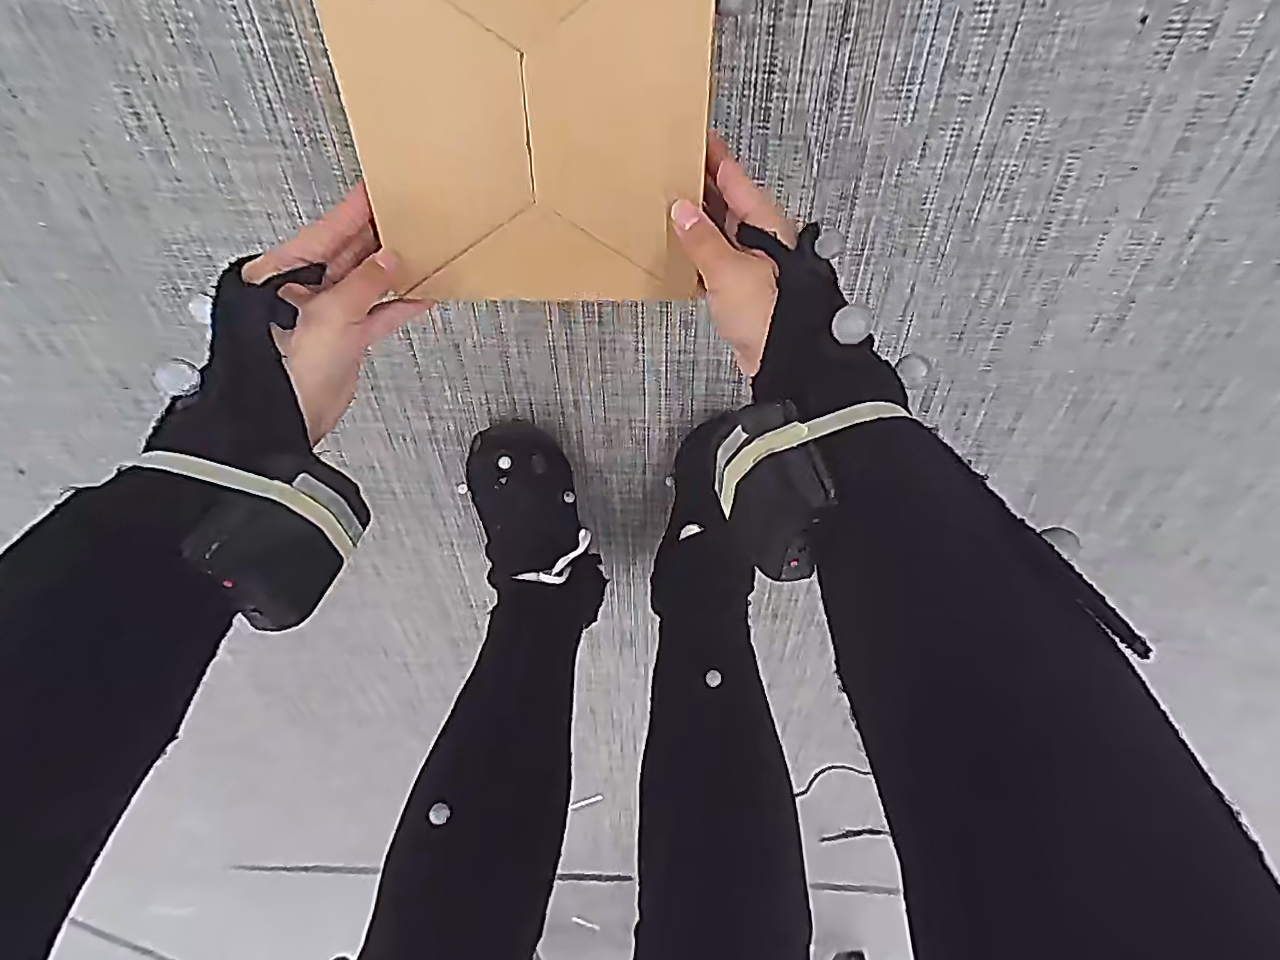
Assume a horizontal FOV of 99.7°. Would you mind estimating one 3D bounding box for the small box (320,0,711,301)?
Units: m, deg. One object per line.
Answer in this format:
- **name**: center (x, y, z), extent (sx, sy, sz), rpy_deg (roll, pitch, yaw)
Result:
- **small box**: center (-0.051, -0.217, 0.331), extent (0.179, 0.176, 0.168), rpy_deg (0, 127, 0)
